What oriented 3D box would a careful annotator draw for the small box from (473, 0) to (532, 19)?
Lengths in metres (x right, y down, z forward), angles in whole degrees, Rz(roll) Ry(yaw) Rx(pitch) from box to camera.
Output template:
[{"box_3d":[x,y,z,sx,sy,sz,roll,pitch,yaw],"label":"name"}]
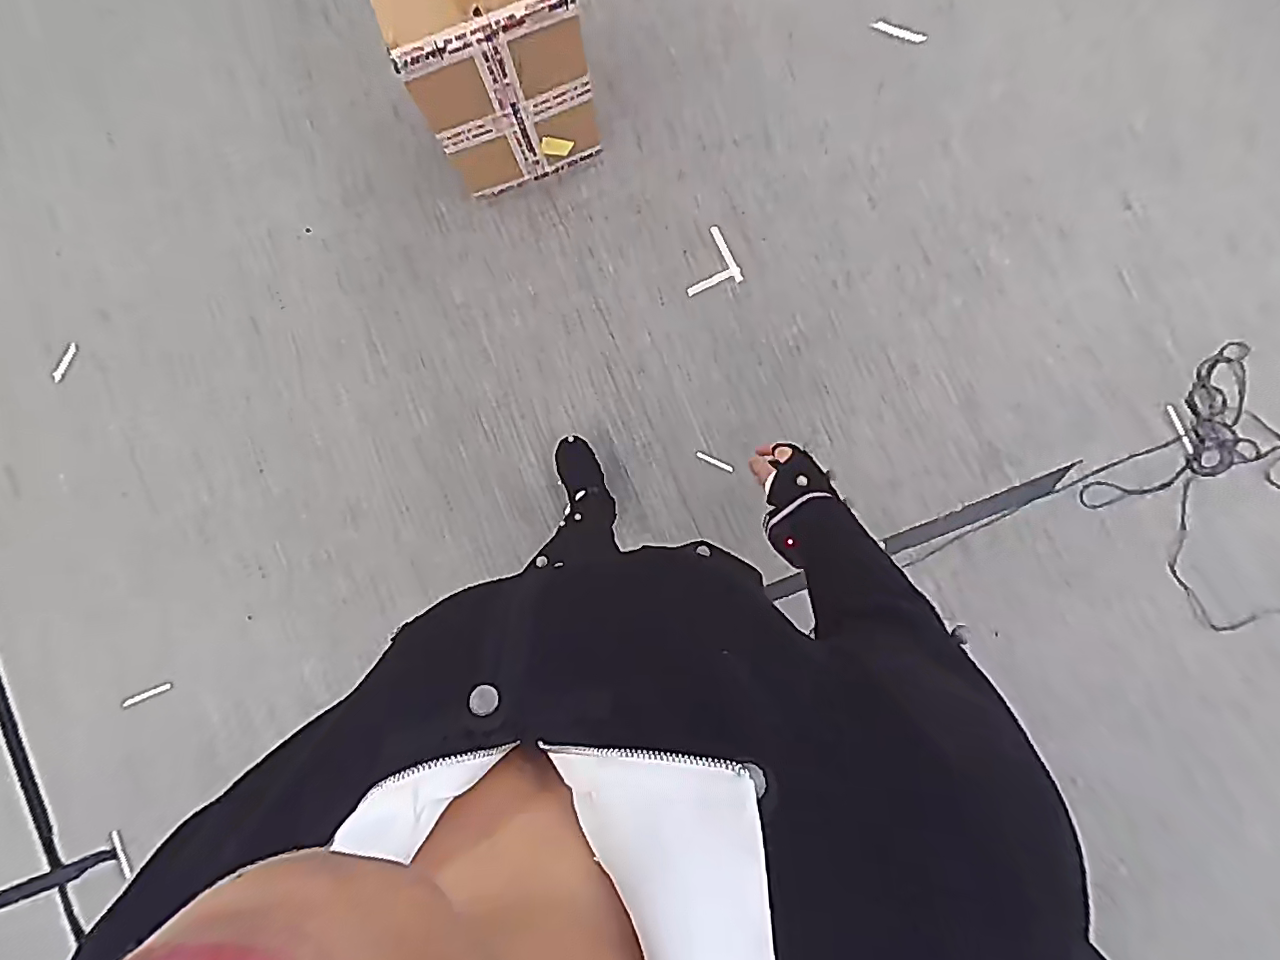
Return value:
[{"box_3d":[-0.268,-1.031,1.008,0.179,0.176,0.168,-24,87,0],"label":"small box"}]
